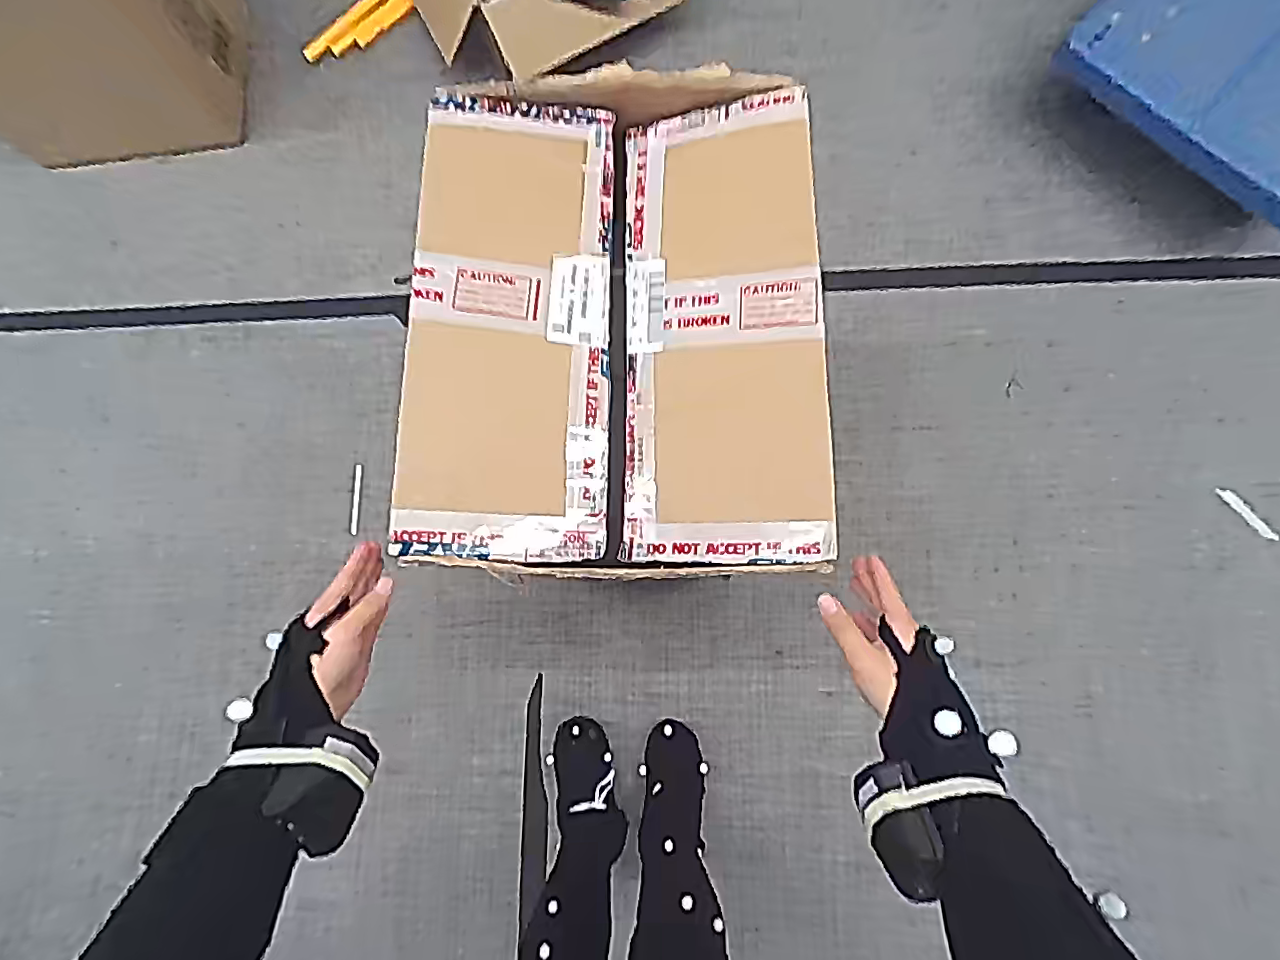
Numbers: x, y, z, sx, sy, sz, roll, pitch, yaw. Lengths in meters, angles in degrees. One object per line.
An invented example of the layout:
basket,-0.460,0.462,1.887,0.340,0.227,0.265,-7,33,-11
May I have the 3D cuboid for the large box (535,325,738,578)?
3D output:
large box,-0.007,-0.031,1.000,0.320,0.320,0.408,-2,81,3
